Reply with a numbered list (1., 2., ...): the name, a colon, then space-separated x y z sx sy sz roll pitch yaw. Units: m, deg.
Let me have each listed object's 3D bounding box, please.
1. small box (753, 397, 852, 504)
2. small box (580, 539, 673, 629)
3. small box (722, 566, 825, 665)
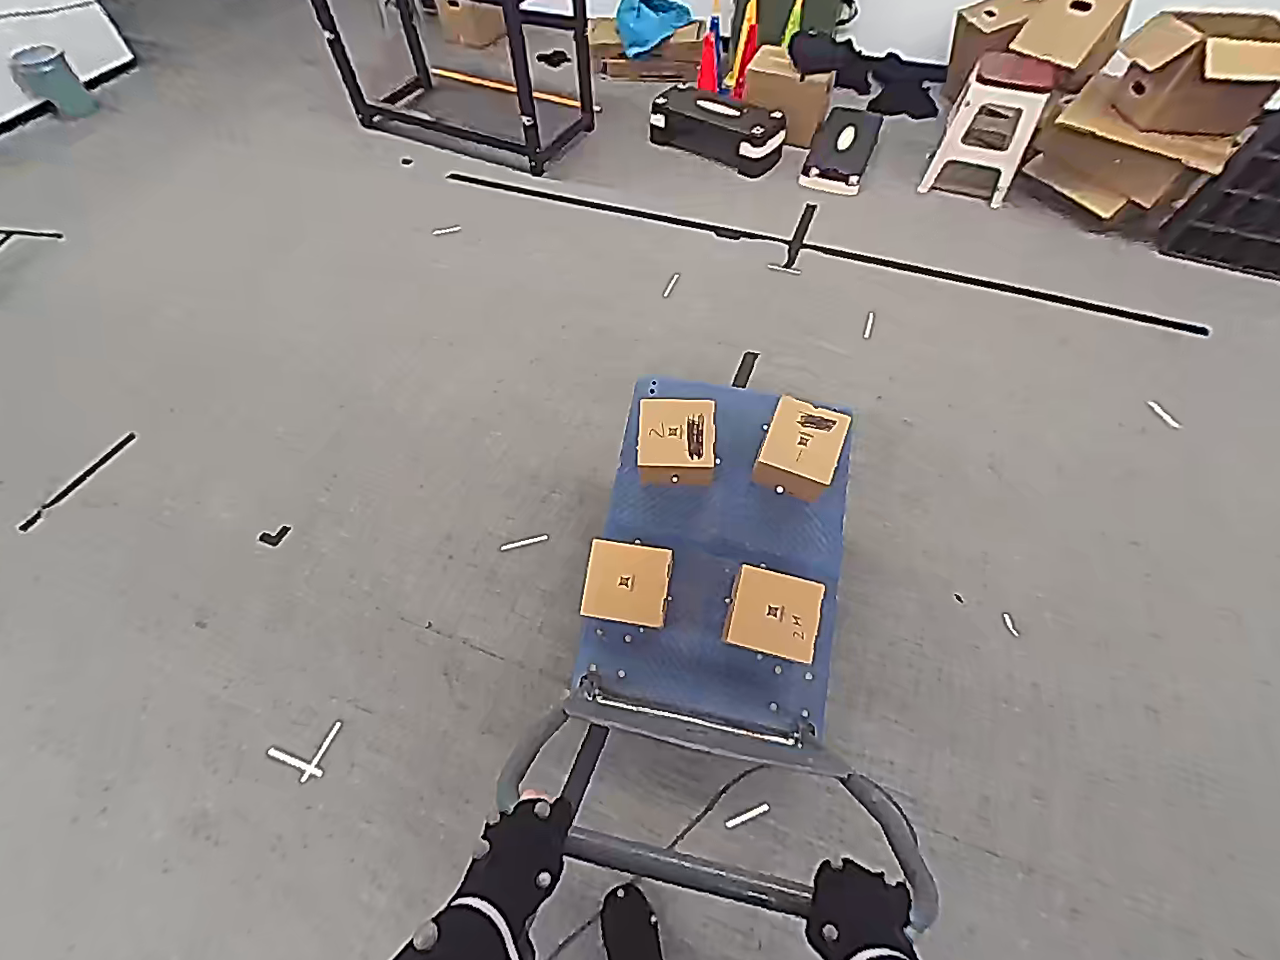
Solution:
1. small box: 0.378 -0.065 1.291 0.168 0.176 0.179 21 77 9
2. small box: -0.025 0.241 1.224 0.179 0.176 0.168 8 74 4
3. small box: 0.285 0.300 1.186 0.179 0.176 0.168 14 75 8
